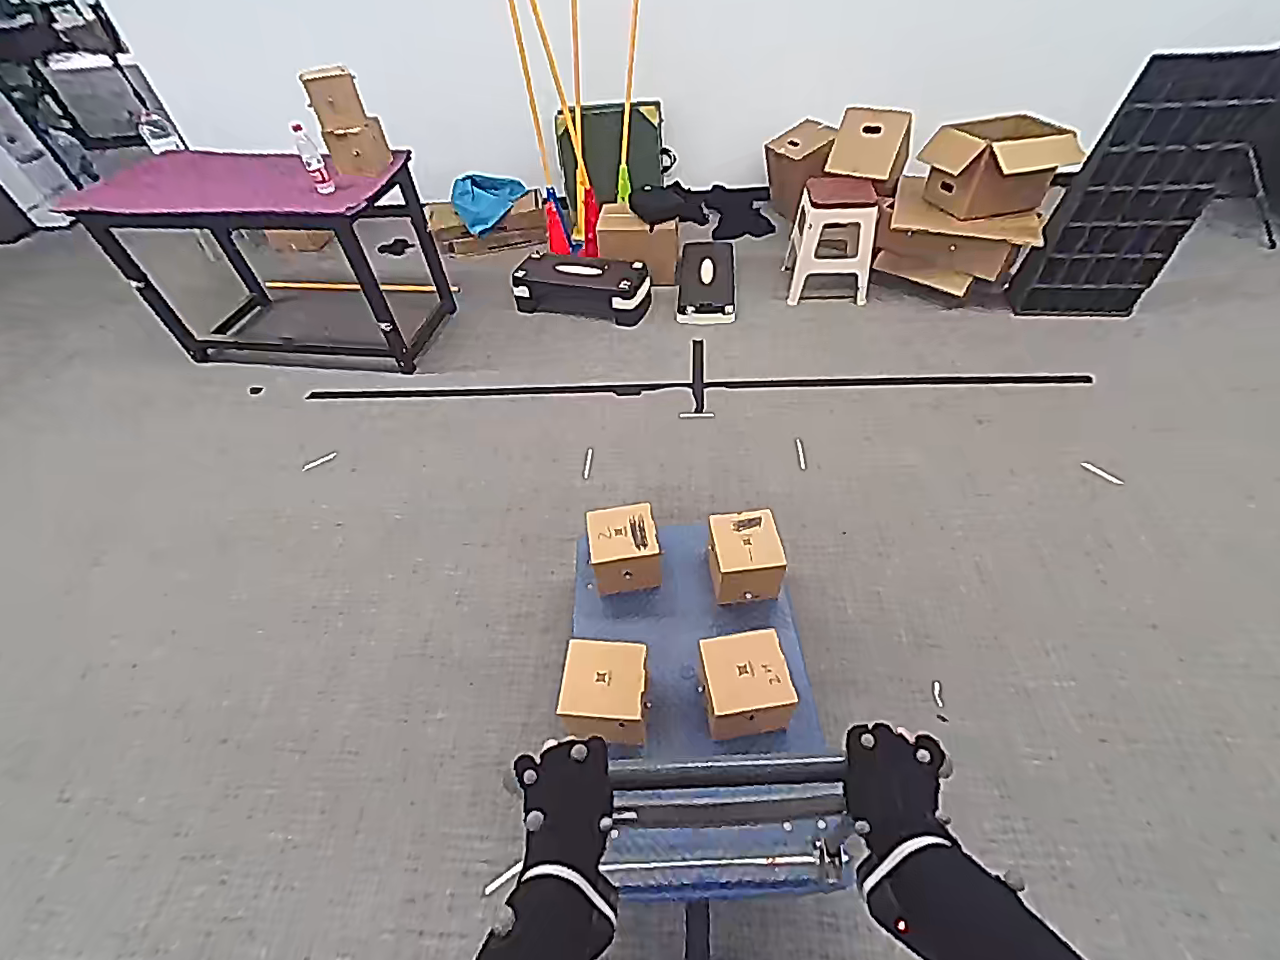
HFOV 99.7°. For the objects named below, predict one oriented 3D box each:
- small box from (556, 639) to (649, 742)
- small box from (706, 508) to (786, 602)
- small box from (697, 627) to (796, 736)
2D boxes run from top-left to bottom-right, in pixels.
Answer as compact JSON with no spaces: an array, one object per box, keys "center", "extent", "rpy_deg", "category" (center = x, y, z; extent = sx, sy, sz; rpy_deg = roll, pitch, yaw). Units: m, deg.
[{"center":[-0.075,0.472,1.208],"extent":[0.179,0.176,0.168],"rpy_deg":[2,49,5],"category":"small box"},{"center":[0.270,0.198,1.420],"extent":[0.168,0.176,0.179],"rpy_deg":[-7,50,-1],"category":"small box"},{"center":[0.229,0.451,1.201],"extent":[0.179,0.176,0.168],"rpy_deg":[-8,49,-2],"category":"small box"}]
